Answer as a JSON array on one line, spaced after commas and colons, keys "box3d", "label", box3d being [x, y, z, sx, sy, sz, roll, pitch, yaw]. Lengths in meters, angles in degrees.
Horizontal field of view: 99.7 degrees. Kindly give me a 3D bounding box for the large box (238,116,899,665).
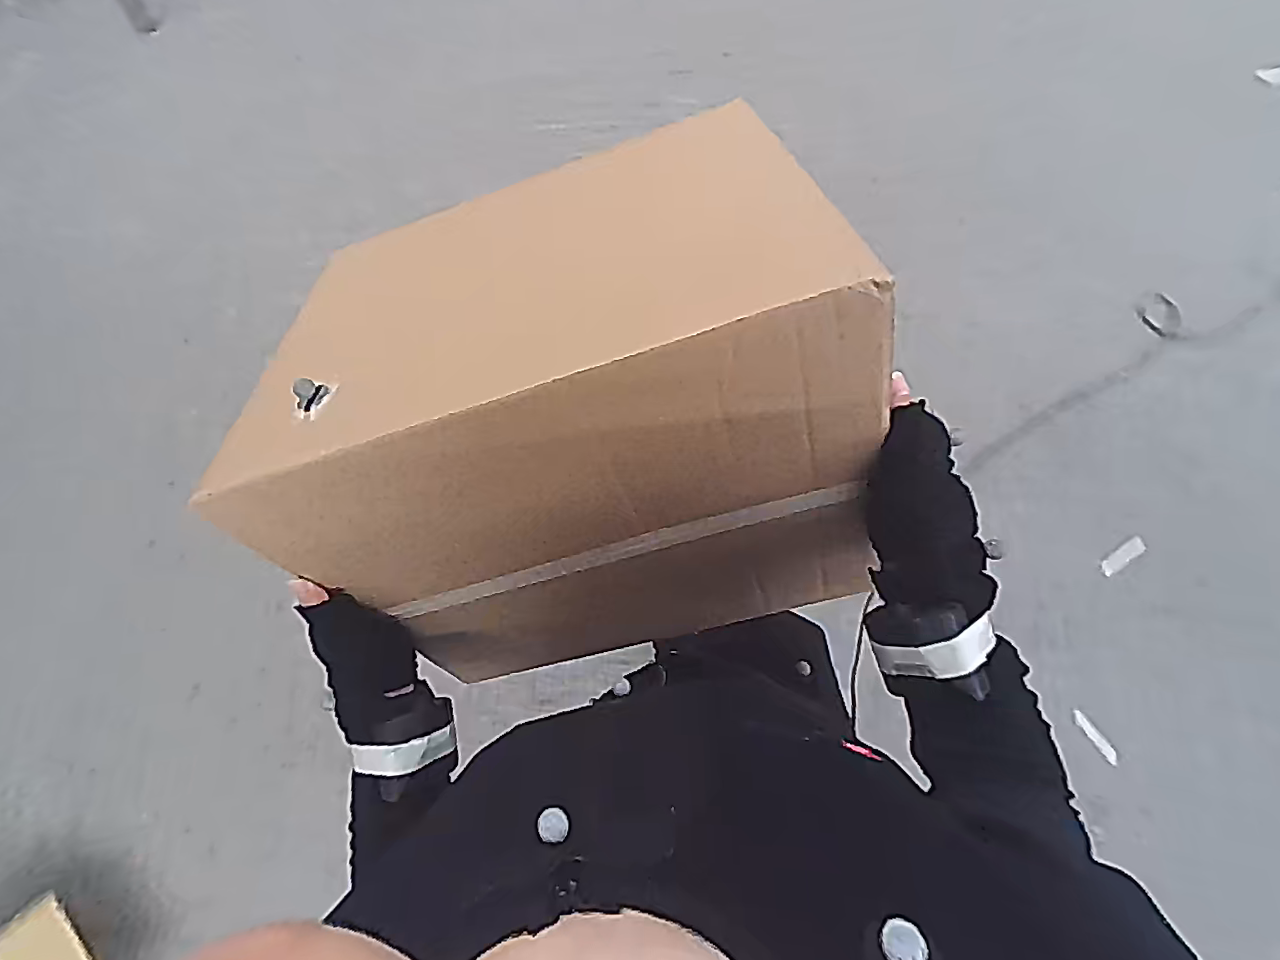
[{"box3d": [-0.031, -0.065, 0.504, 0.408, 0.320, 0.320, -14, 48, 9], "label": "large box"}]
